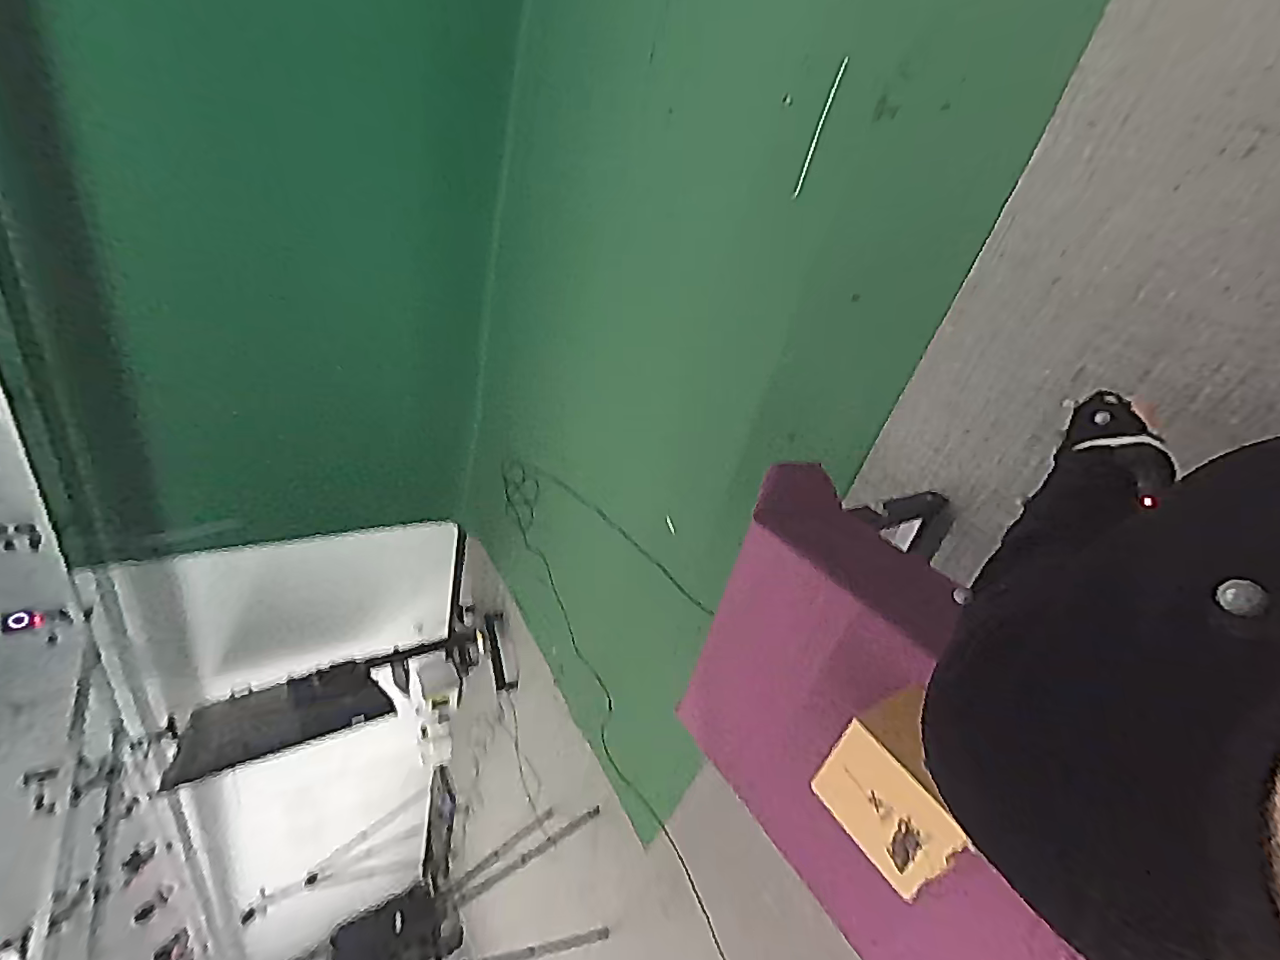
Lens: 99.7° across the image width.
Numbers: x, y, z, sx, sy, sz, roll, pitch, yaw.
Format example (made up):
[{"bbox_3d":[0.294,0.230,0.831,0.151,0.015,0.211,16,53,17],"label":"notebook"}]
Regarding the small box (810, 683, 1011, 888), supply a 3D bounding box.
[{"bbox_3d":[0.396,0.435,0.797,0.179,0.176,0.168,45,130,42],"label":"small box"}]
